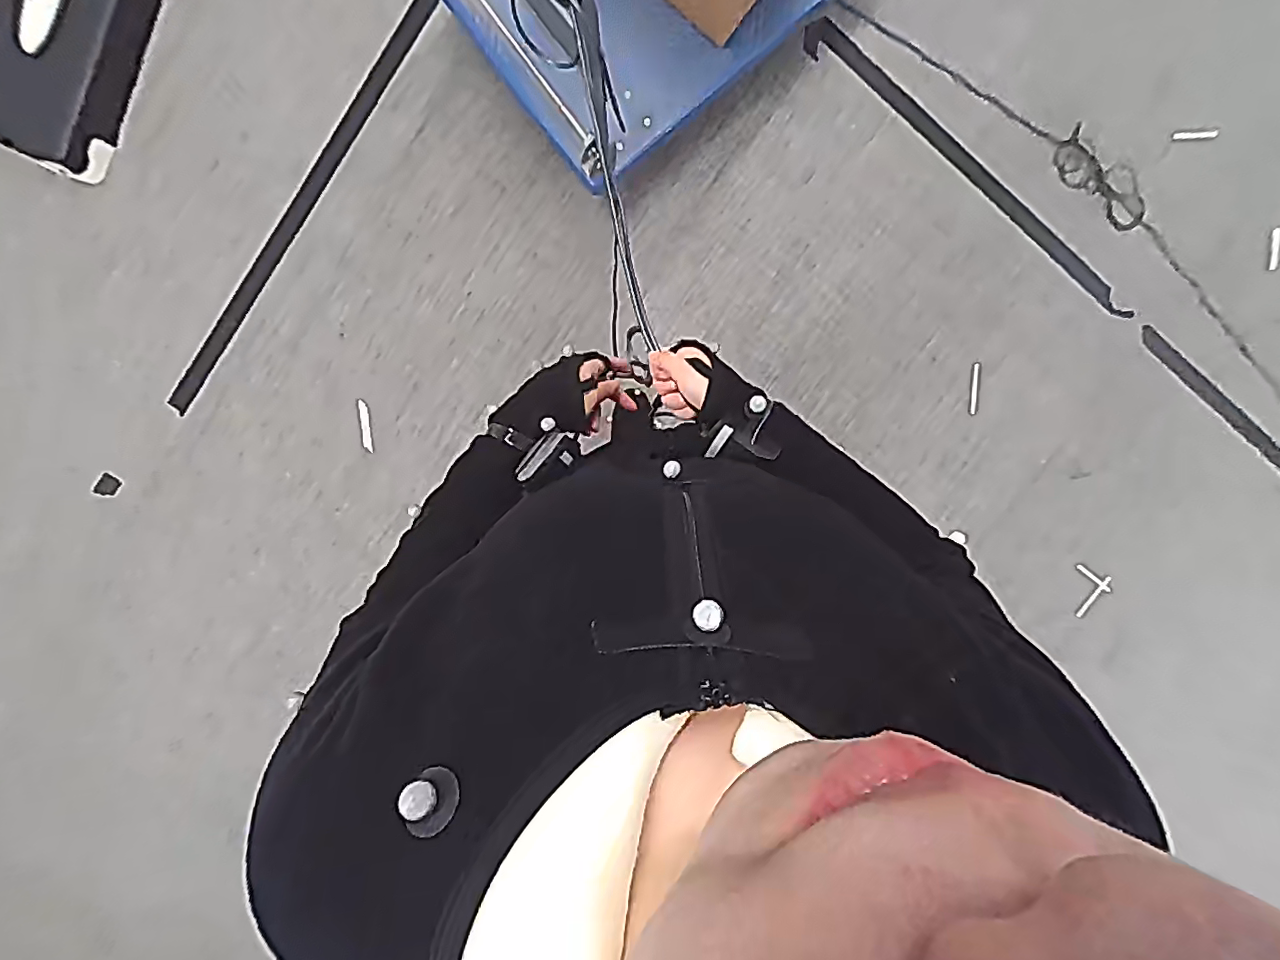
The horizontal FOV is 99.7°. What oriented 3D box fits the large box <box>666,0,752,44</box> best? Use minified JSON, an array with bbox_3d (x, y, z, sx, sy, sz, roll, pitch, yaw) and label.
[{"bbox_3d":[0.112,-1.152,0.990,0.408,0.320,0.320,36,96,-9],"label":"large box"}]
